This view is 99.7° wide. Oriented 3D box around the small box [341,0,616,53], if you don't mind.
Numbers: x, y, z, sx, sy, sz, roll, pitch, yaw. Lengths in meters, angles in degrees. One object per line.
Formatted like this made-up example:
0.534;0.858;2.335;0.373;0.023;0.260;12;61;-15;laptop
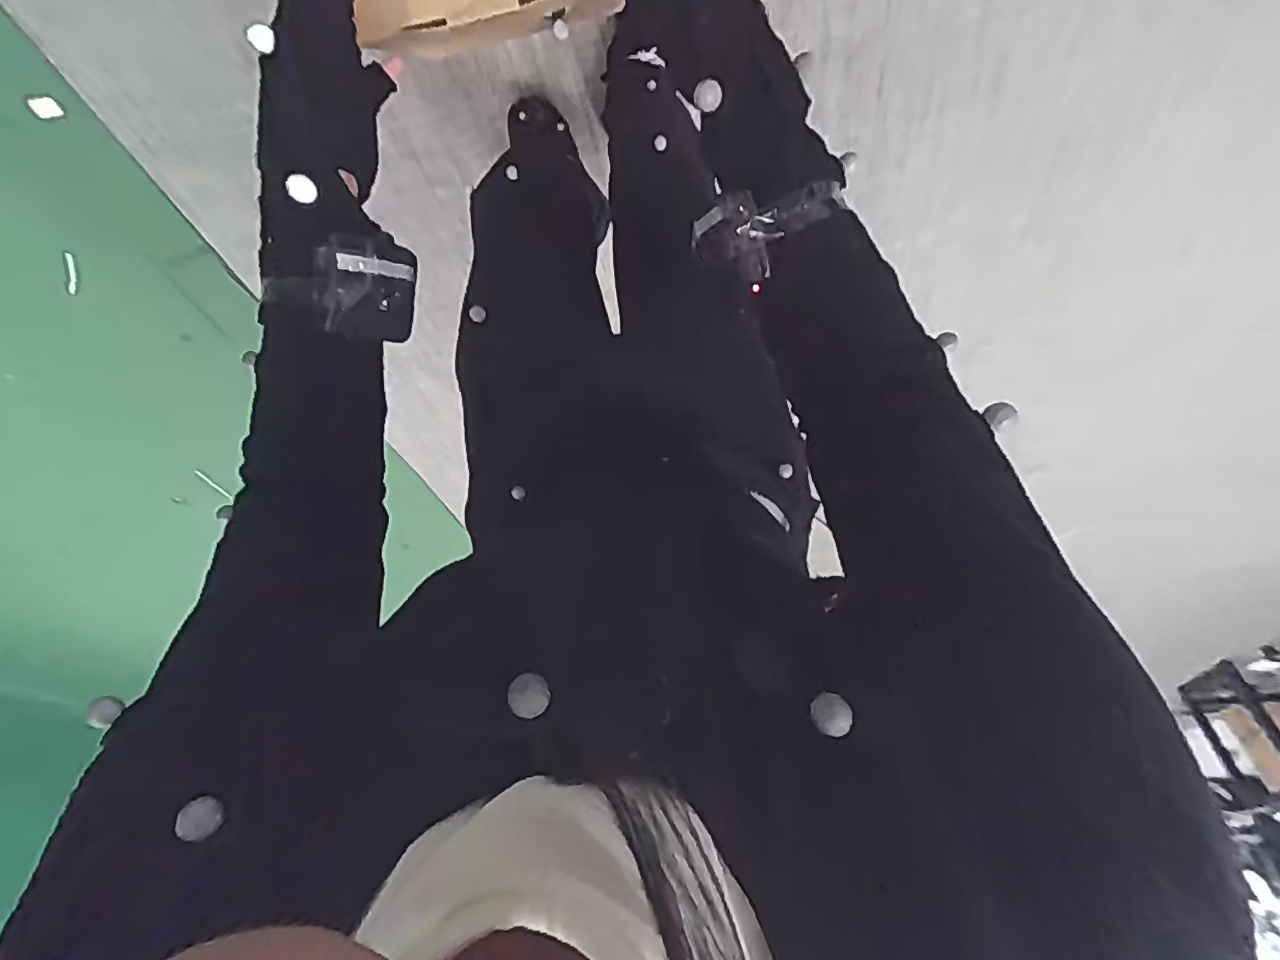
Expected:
-0.110;-0.394;0.340;0.168;0.176;0.179;-10;124;5;small box
